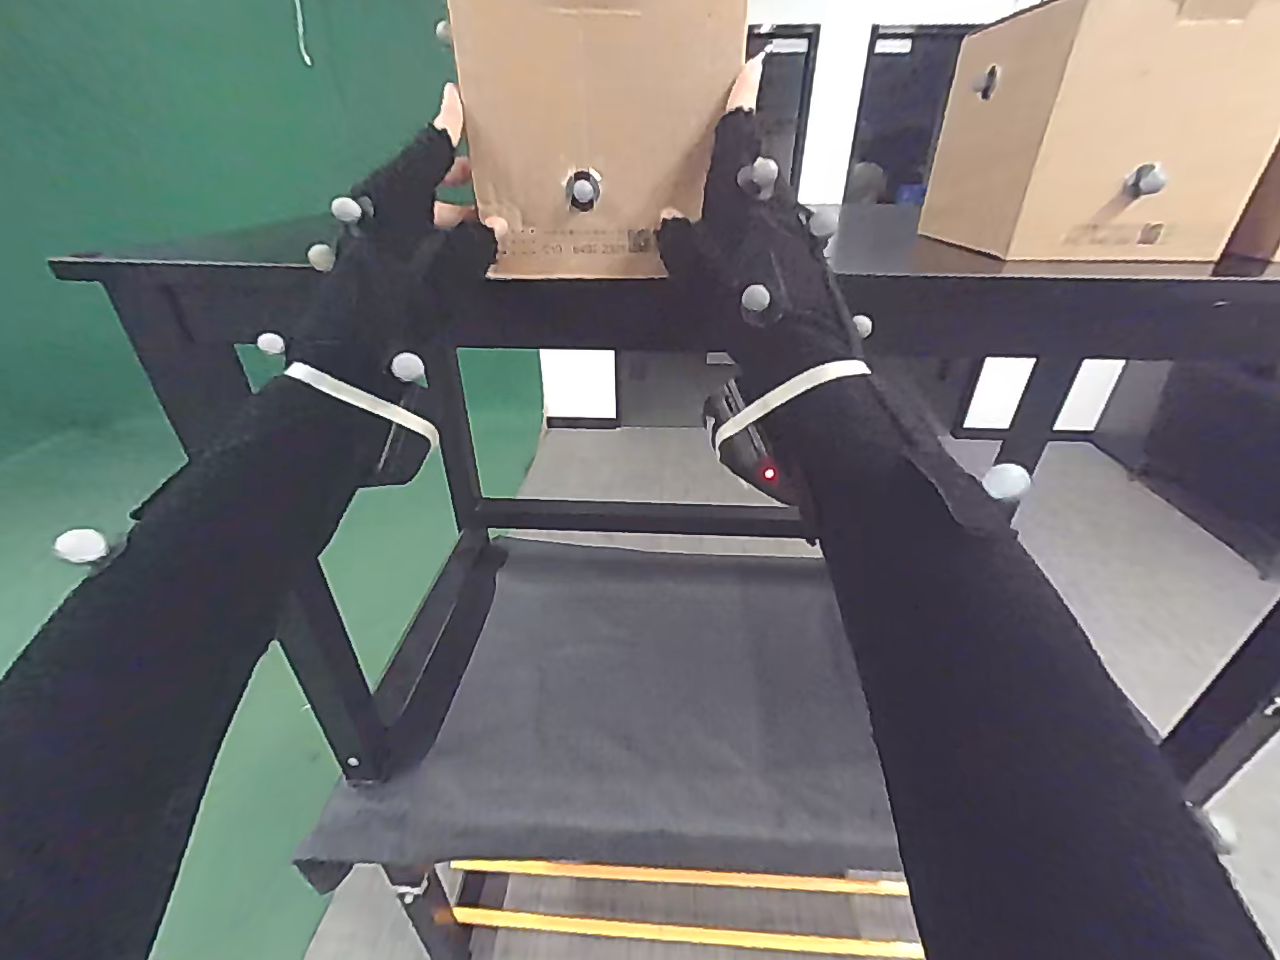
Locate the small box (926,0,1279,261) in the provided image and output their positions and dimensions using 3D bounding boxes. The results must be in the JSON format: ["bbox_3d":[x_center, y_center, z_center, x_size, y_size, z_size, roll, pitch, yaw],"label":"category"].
[{"bbox_3d":[0.372,-0.290,0.457,0.168,0.176,0.179,1,31,2],"label":"small box"}]

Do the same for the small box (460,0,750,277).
[{"bbox_3d":[-0.027,-0.254,0.399,0.168,0.176,0.179,-3,31,-4],"label":"small box"}]
